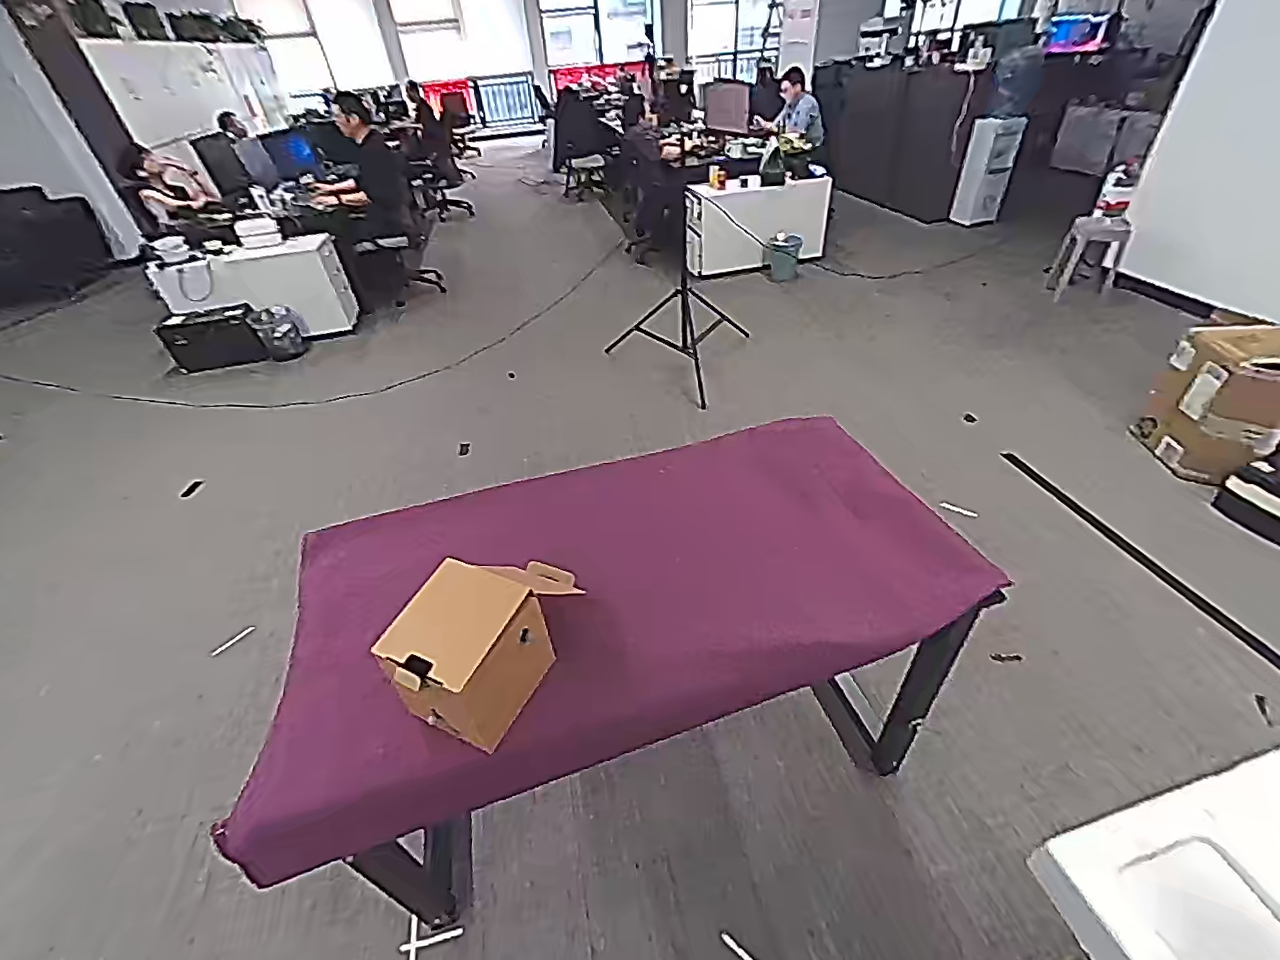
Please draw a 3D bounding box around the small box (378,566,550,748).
[{"bbox_3d":[-0.255,0.269,0.833,0.168,0.176,0.179,13,42,24],"label":"small box"}]
